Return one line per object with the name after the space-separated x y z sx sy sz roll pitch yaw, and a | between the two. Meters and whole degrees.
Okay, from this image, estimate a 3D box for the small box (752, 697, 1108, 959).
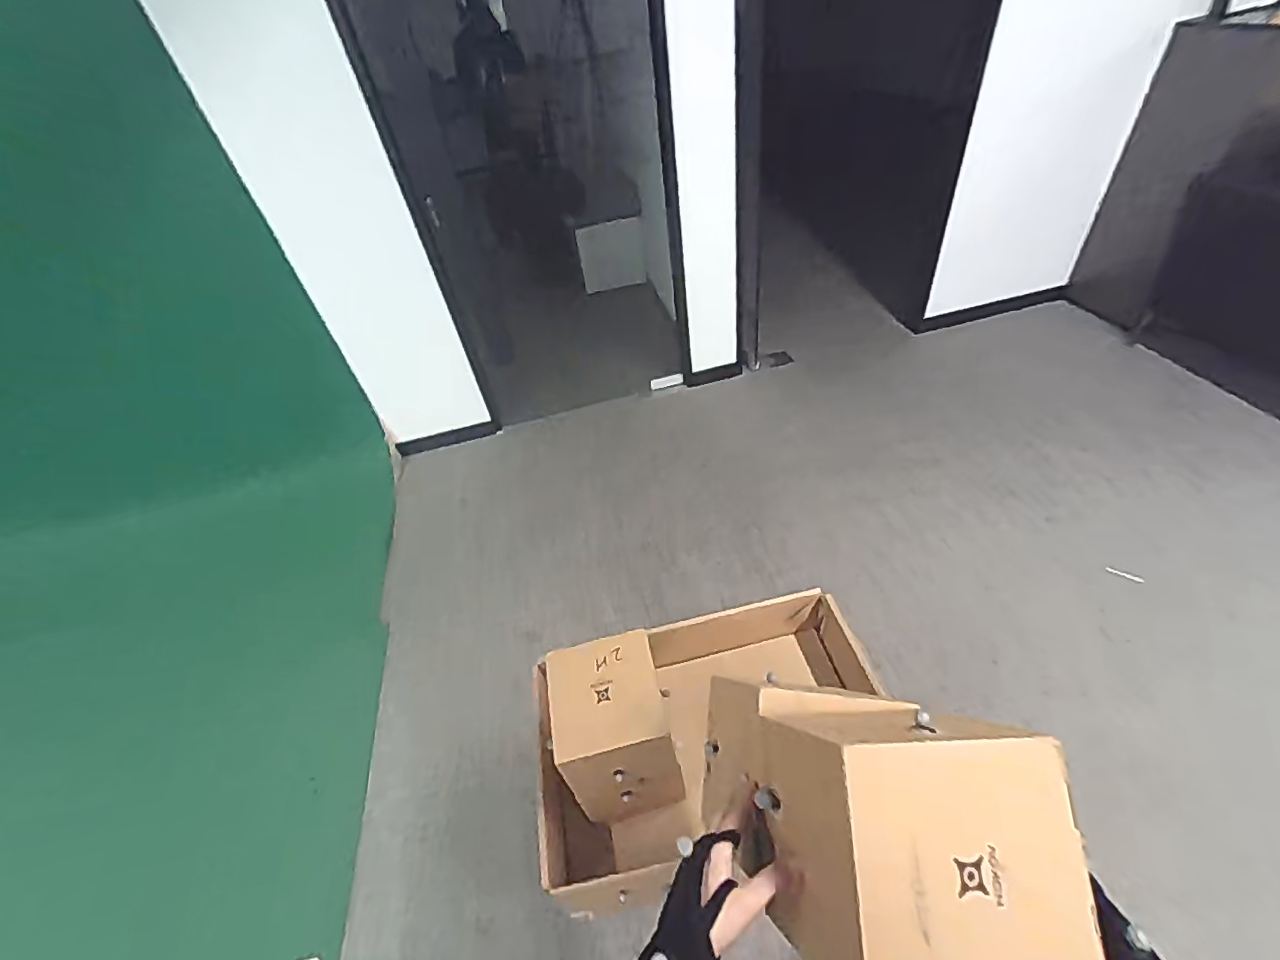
0.205 0.269 0.431 0.179 0.176 0.168 2 72 -8 | small box

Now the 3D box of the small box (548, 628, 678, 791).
-0.041 0.368 0.857 0.168 0.176 0.179 -13 43 -2 | small box
